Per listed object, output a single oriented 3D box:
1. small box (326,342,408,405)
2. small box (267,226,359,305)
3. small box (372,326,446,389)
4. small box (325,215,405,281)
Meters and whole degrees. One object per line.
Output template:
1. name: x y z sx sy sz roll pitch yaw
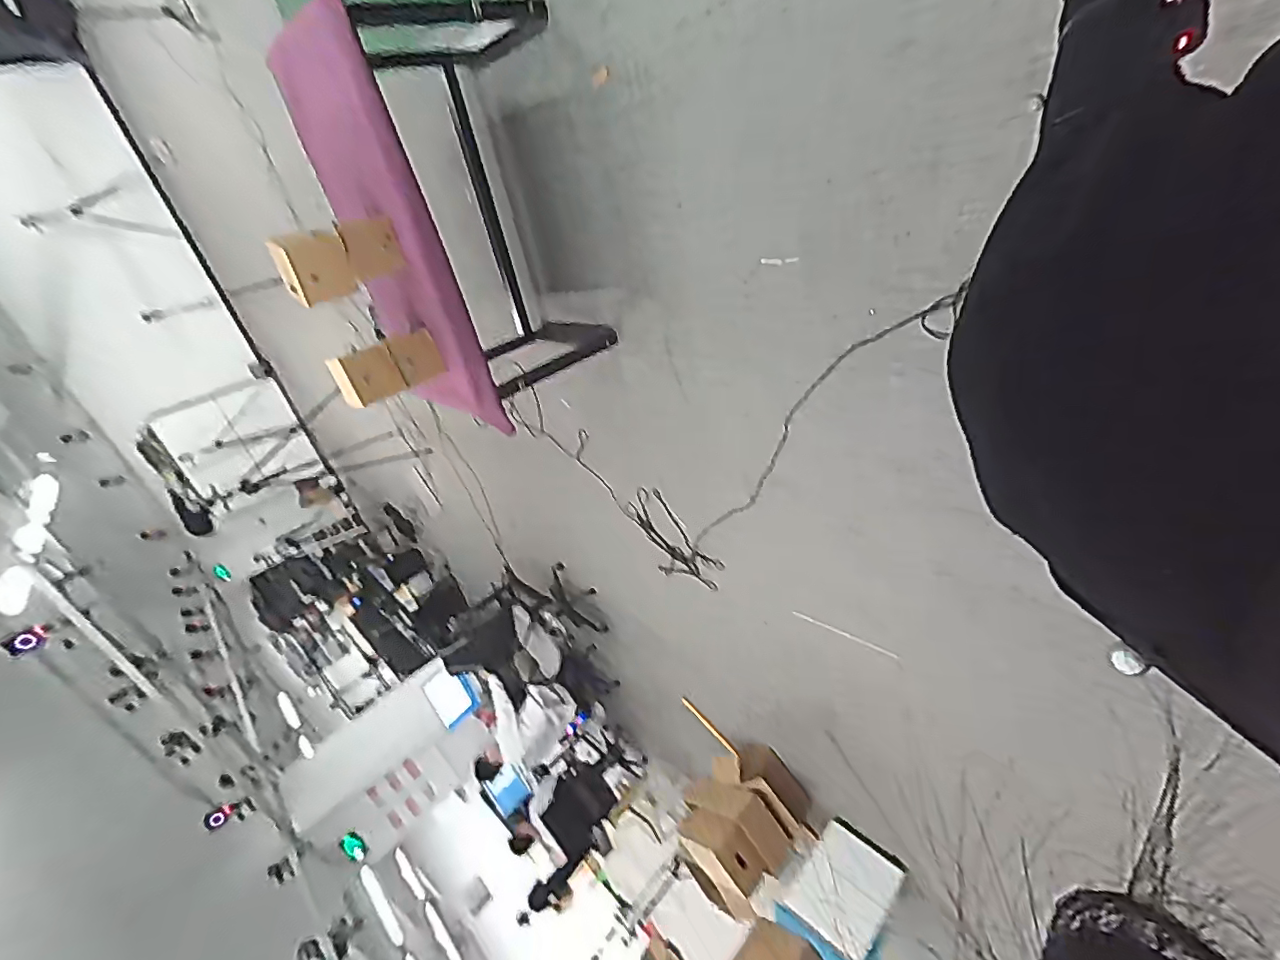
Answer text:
1. small box: -0.948 -0.375 1.883 0.168 0.176 0.179 11 128 46
2. small box: -1.014 -0.674 1.691 0.168 0.176 0.179 30 140 34
3. small box: -0.838 -0.451 1.976 0.168 0.176 0.179 14 129 45
4. small box: -0.905 -0.764 1.775 0.179 0.176 0.168 21 135 41
